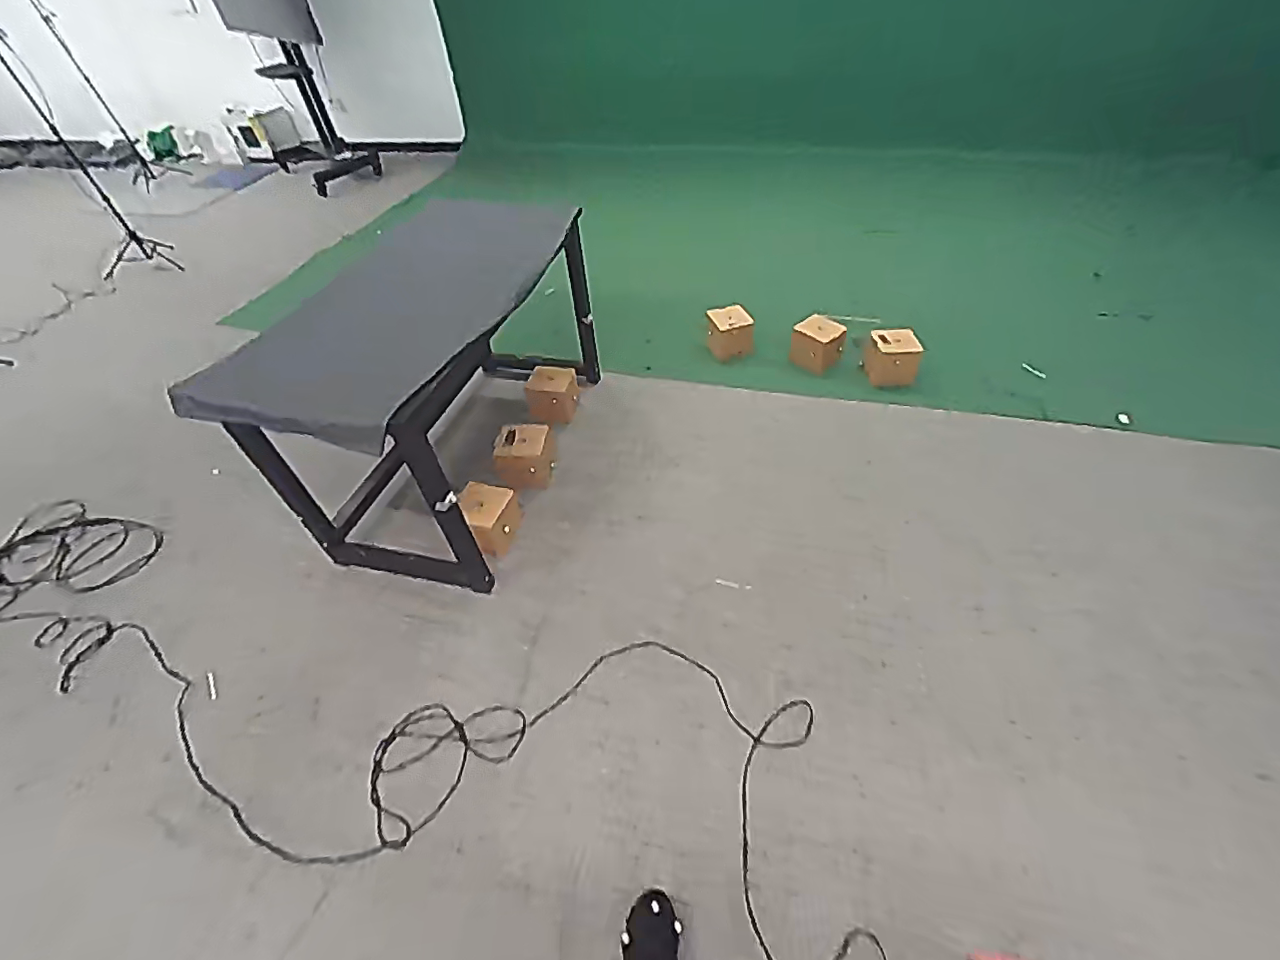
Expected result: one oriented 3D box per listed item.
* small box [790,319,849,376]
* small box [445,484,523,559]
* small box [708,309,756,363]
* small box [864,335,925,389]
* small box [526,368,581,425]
[{"bbox_3d":[0.792,-0.582,2.396,0.168,0.176,0.179,-33,52,-25],"label":"small box"},{"bbox_3d":[-0.514,0.142,1.817,0.179,0.176,0.168,13,49,15],"label":"small box"},{"bbox_3d":[0.420,-0.666,2.507,0.168,0.176,0.179,-15,46,-9],"label":"small box"},{"bbox_3d":[1.069,-0.497,2.293,0.179,0.176,0.168,-2,47,1],"label":"small box"},{"bbox_3d":[-0.355,-0.348,2.262,0.179,0.176,0.168,5,47,9],"label":"small box"}]
